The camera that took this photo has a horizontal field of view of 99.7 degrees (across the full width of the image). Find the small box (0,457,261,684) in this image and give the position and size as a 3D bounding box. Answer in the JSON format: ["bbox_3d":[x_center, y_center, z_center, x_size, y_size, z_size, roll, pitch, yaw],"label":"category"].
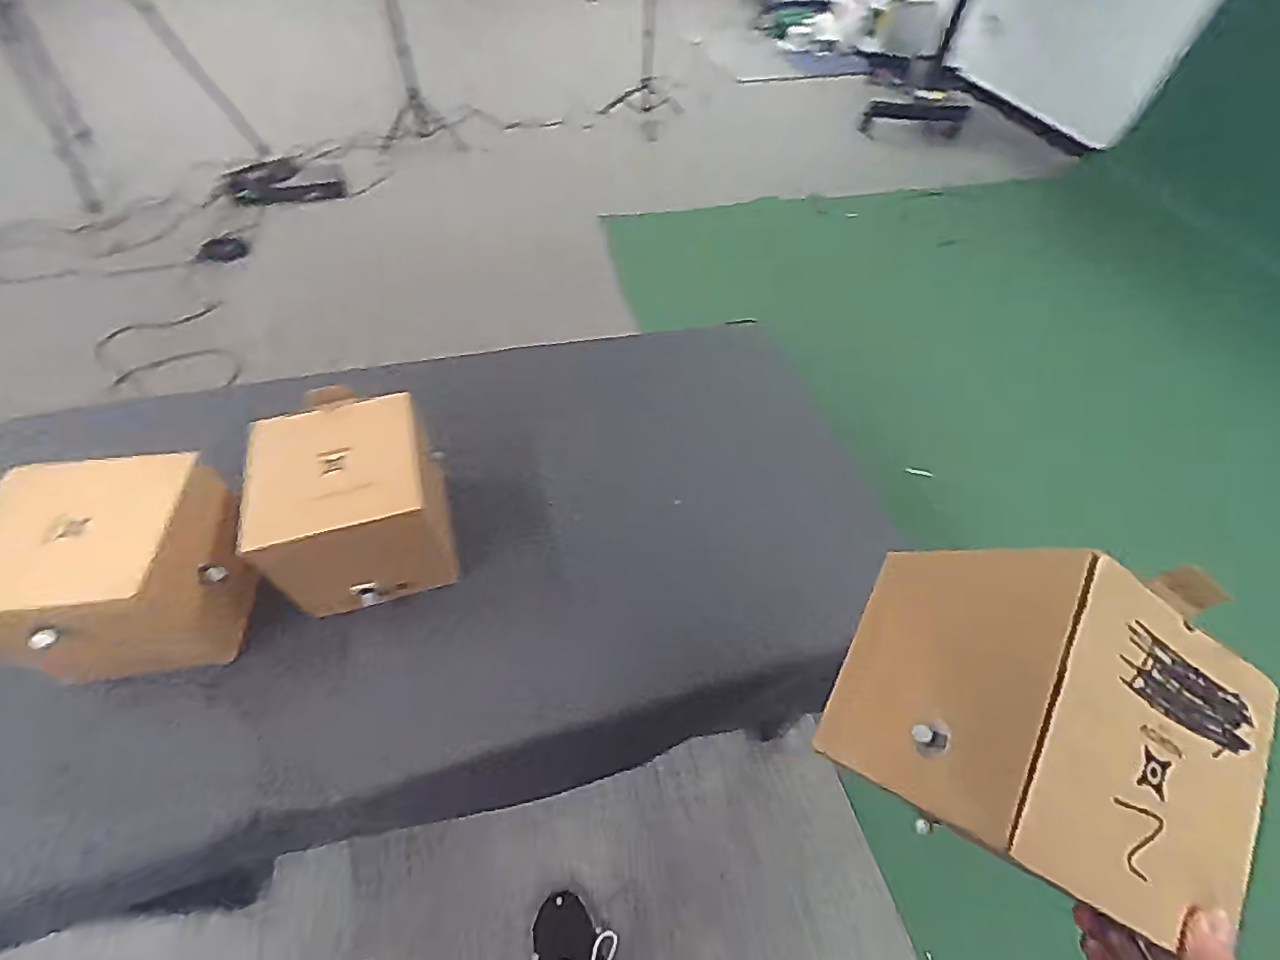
[{"bbox_3d":[-0.534,0.097,0.561,0.179,0.176,0.168,-6,53,-8],"label":"small box"}]

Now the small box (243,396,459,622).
[{"bbox_3d":[-0.321,0.035,0.626,0.168,0.176,0.179,-16,56,-14],"label":"small box"}]
